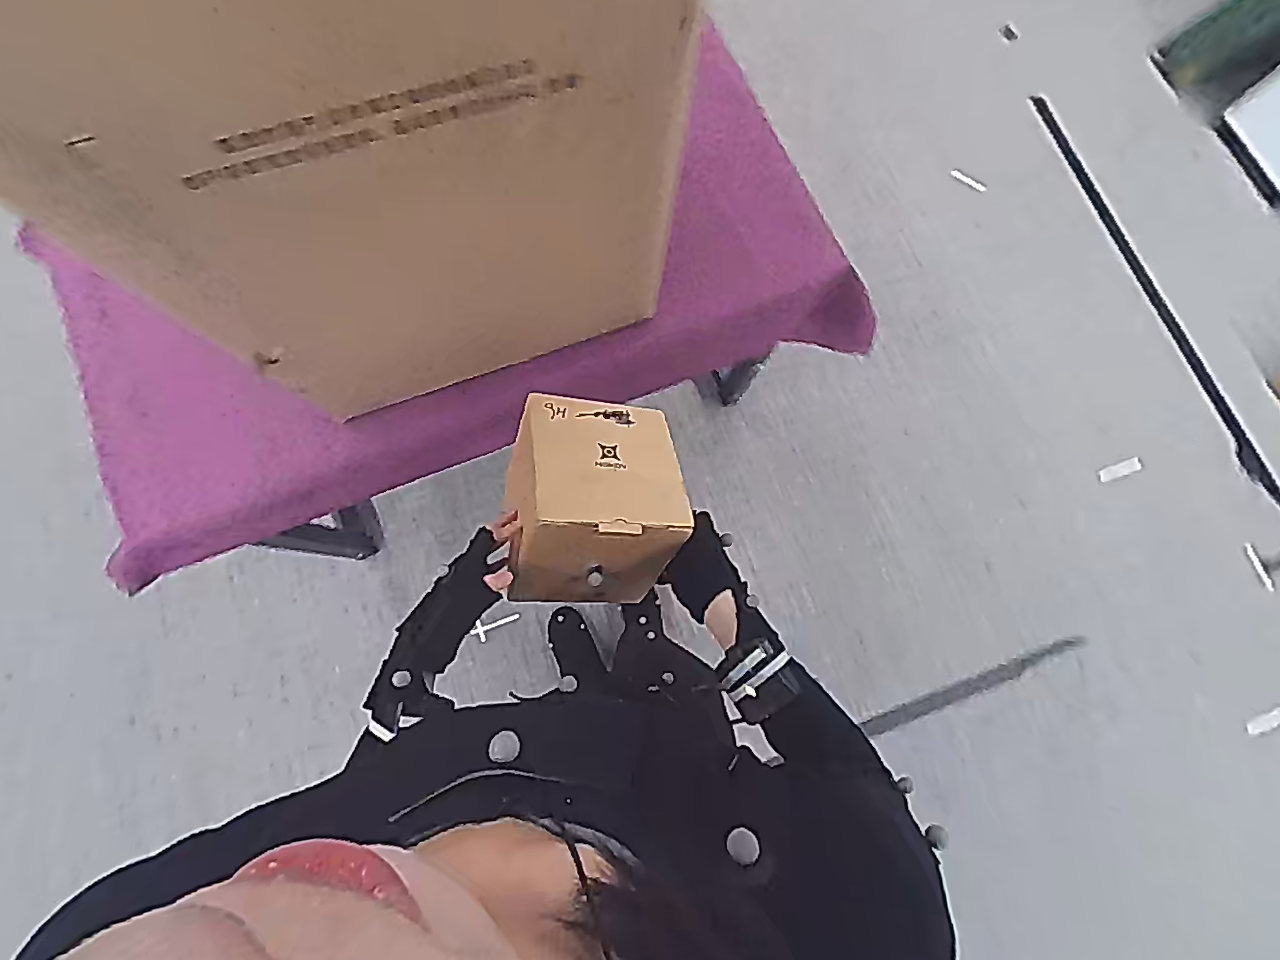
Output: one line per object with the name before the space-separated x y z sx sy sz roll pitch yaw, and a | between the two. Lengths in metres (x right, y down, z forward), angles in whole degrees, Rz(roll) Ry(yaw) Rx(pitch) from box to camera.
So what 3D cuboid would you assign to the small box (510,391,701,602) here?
small box | -0.051 0.028 0.623 0.168 0.176 0.179 7 50 -22
